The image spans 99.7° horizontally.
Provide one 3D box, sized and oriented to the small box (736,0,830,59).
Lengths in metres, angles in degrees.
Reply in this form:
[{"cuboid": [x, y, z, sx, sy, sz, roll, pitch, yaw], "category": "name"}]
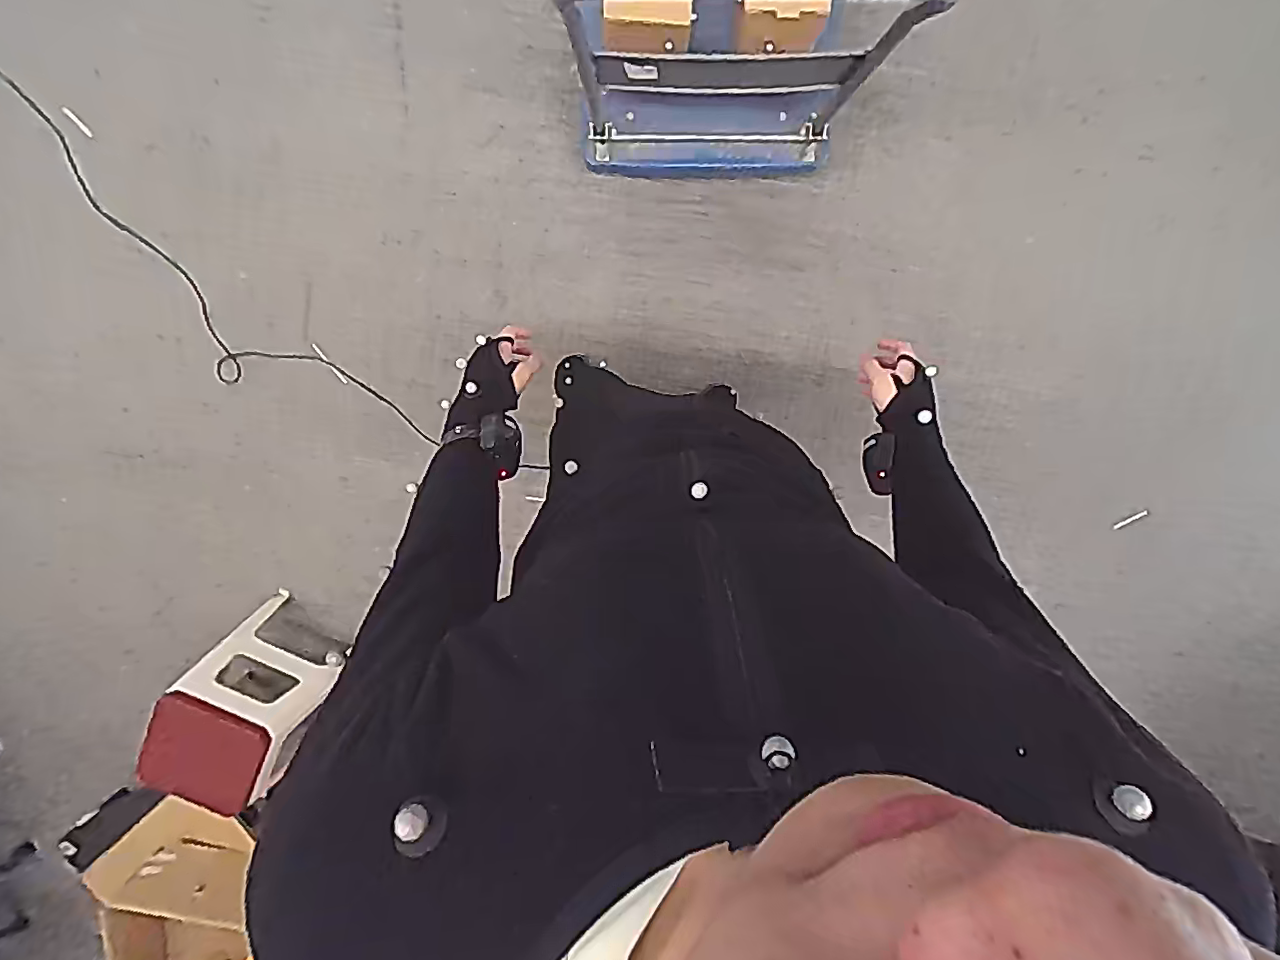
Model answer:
[{"cuboid": [0.296, -1.021, 1.124, 0.168, 0.176, 0.179, 2, 104, 2], "category": "small box"}]
